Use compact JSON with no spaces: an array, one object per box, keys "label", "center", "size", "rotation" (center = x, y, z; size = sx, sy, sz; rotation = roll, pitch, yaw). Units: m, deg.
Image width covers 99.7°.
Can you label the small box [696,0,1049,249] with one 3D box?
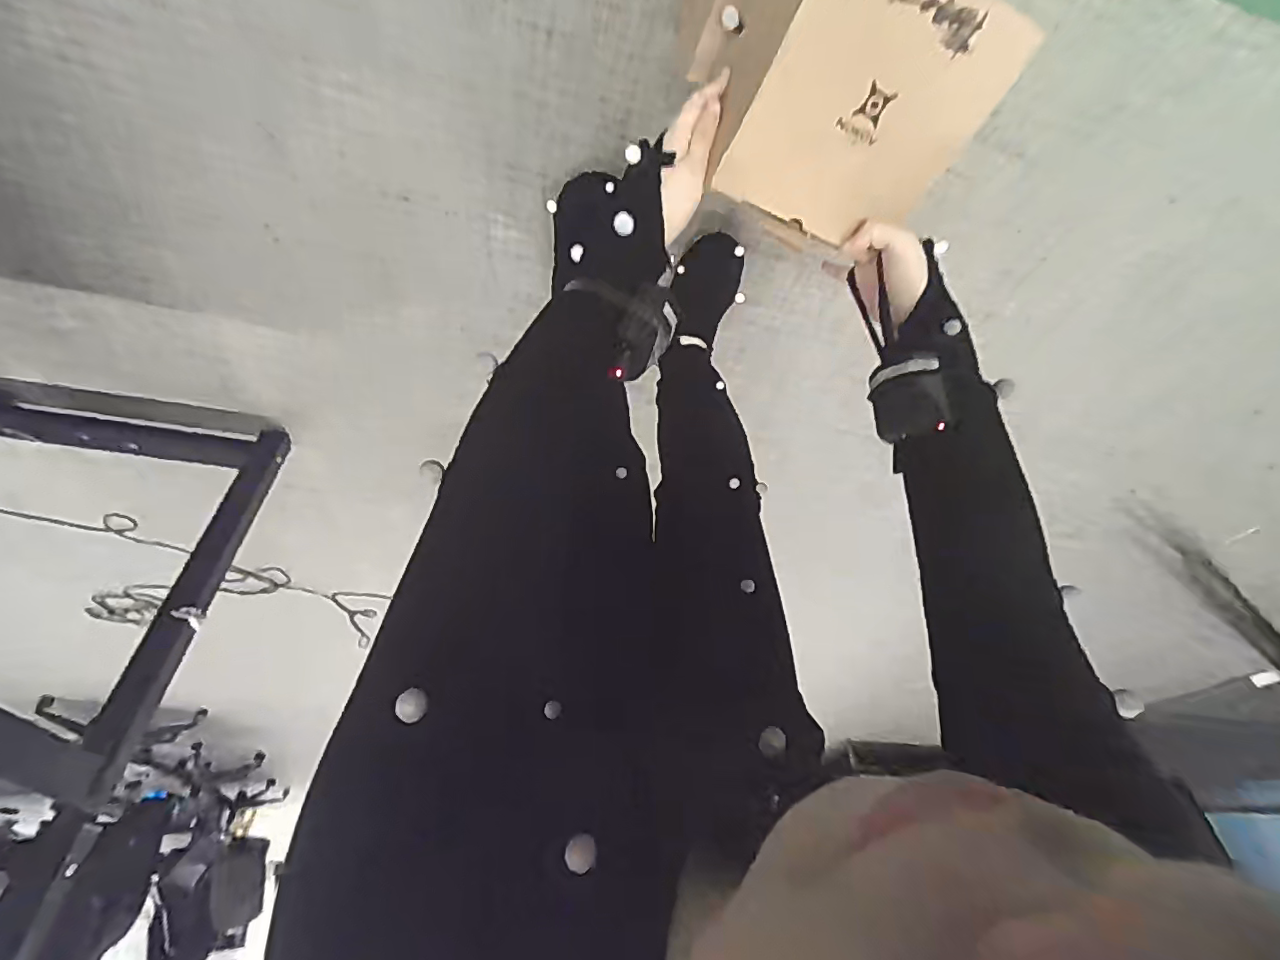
[{"label":"small box","center":[0.155,-0.329,0.430],"size":[0.168,0.176,0.179],"rotation":[14,137,-19]}]
